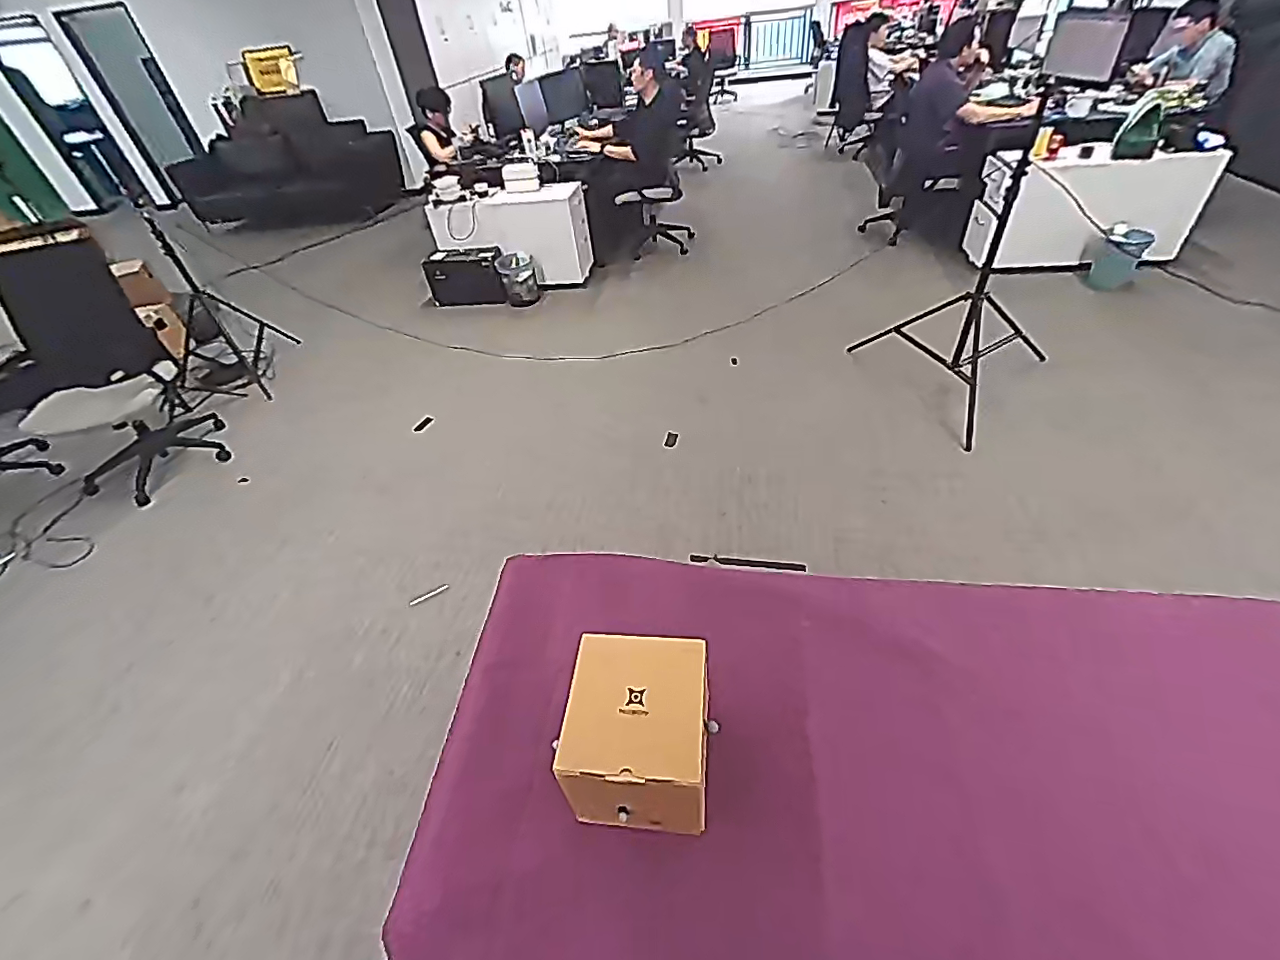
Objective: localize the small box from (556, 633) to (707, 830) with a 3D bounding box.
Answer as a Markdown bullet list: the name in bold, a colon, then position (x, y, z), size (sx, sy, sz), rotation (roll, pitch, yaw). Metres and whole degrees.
- **small box**: position (0.002, 0.323, 0.701), size (0.168, 0.176, 0.179), rotation (0, 43, 8)
